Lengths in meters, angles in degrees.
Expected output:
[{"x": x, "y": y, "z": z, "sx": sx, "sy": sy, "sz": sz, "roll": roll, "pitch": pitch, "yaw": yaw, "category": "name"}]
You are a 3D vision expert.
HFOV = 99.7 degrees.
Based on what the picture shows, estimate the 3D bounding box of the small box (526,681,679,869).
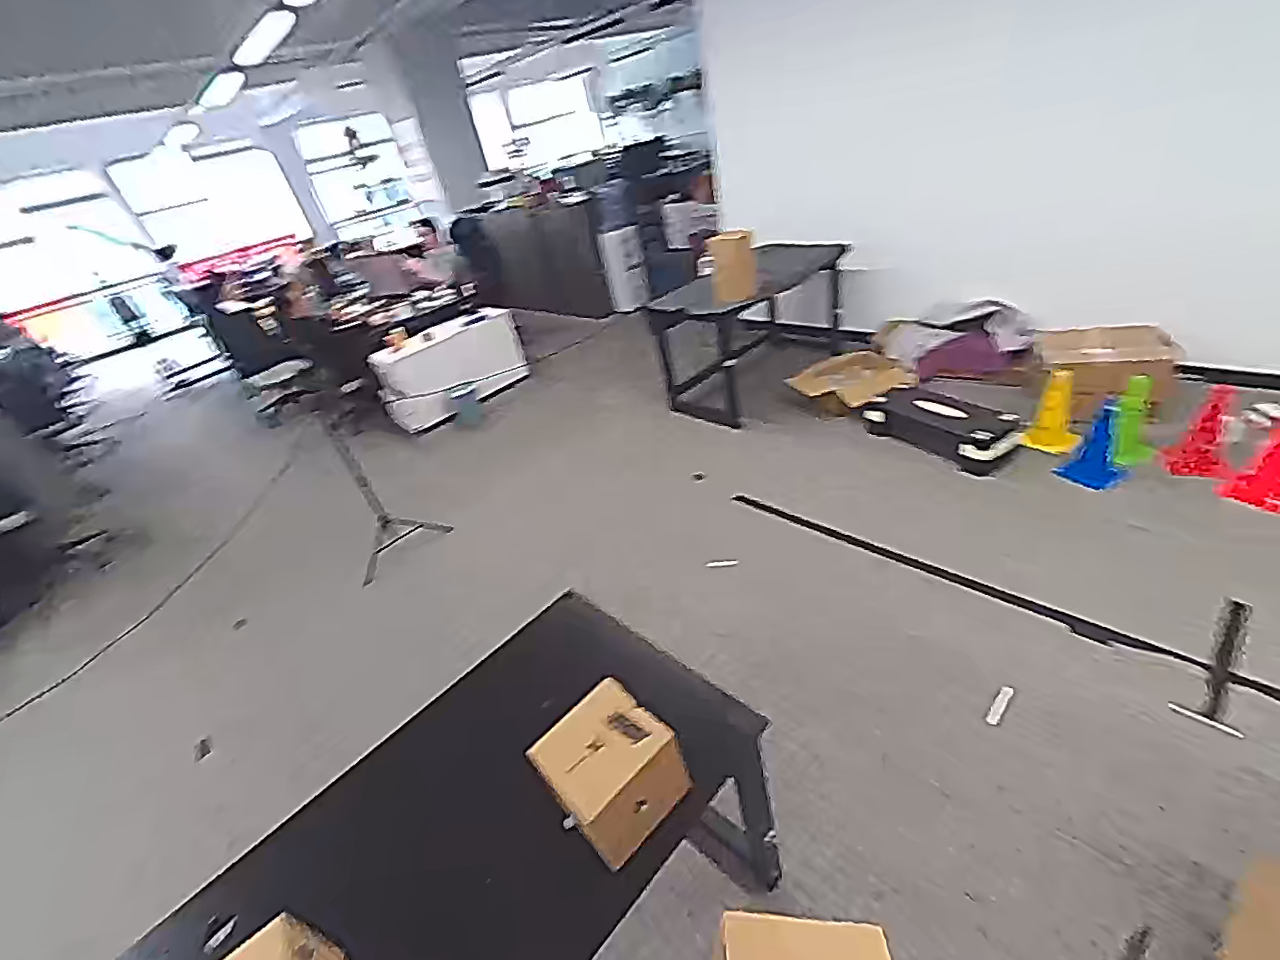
[{"x": -0.053, "y": 0.481, "z": 0.890, "sx": 0.179, "sy": 0.176, "sz": 0.168, "roll": -37, "pitch": 39, "yaw": -28, "category": "small box"}]

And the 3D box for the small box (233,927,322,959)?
[{"x": -0.485, "y": 0.737, "z": 0.682, "sx": 0.168, "sy": 0.176, "sz": 0.179, "roll": -34, "pitch": 38, "yaw": -26, "category": "small box"}]

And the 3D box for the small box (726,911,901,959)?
[{"x": 0.174, "y": 0.580, "z": 0.542, "sx": 0.179, "sy": 0.176, "sz": 0.168, "roll": 3, "pitch": 24, "yaw": 3, "category": "small box"}]
